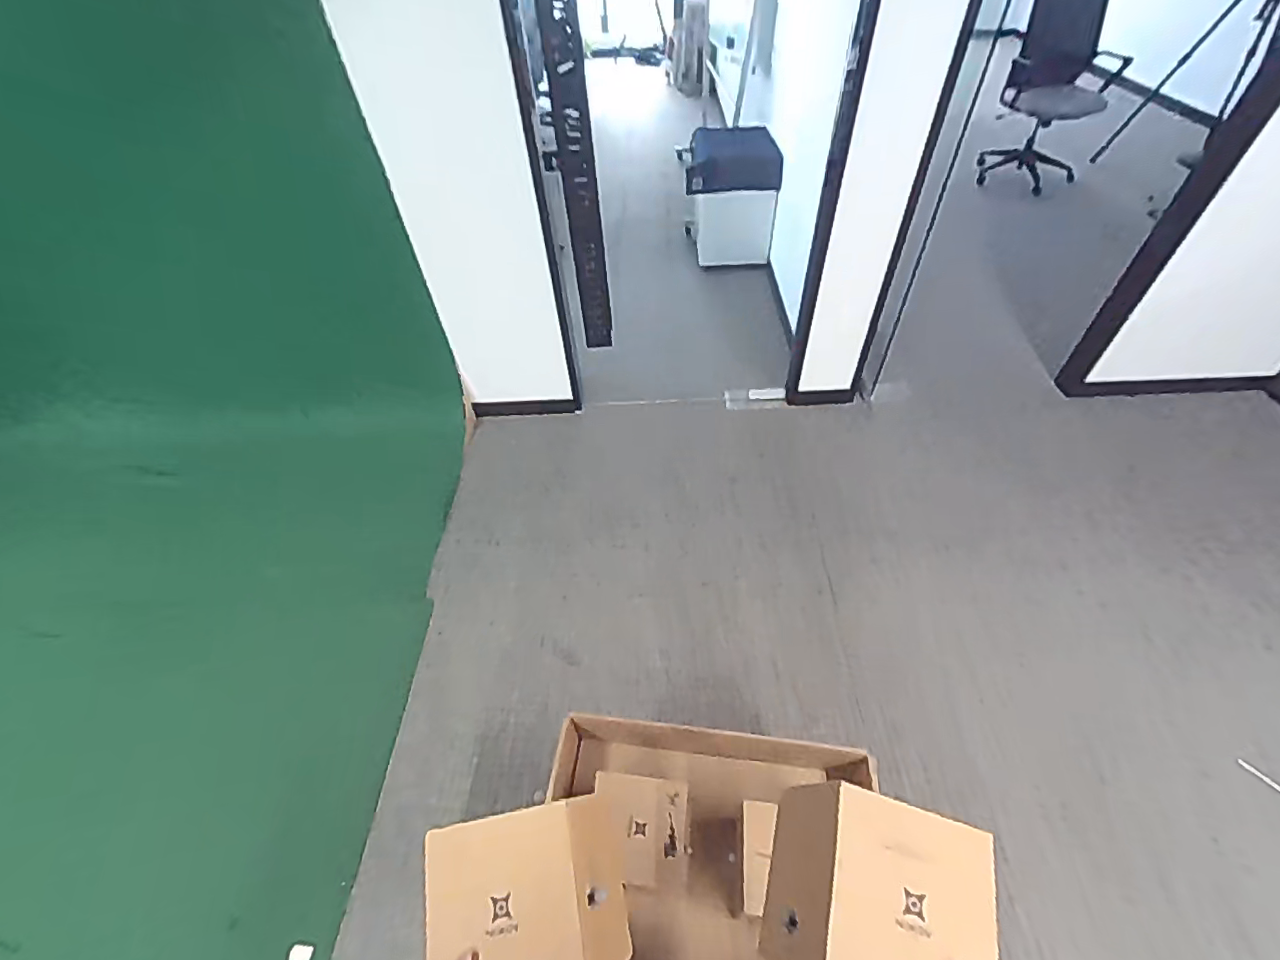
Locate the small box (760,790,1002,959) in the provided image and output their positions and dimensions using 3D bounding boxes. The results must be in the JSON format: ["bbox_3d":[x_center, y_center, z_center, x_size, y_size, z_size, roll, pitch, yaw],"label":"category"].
[{"bbox_3d":[0.237,0.447,0.560,0.168,0.176,0.179,21,57,2],"label":"small box"}]

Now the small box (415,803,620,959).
[{"bbox_3d":[-0.129,0.473,0.600,0.168,0.176,0.179,-15,61,4],"label":"small box"}]

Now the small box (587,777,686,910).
[{"bbox_3d":[-0.011,0.673,0.999,0.179,0.176,0.168,5,48,8],"label":"small box"}]
